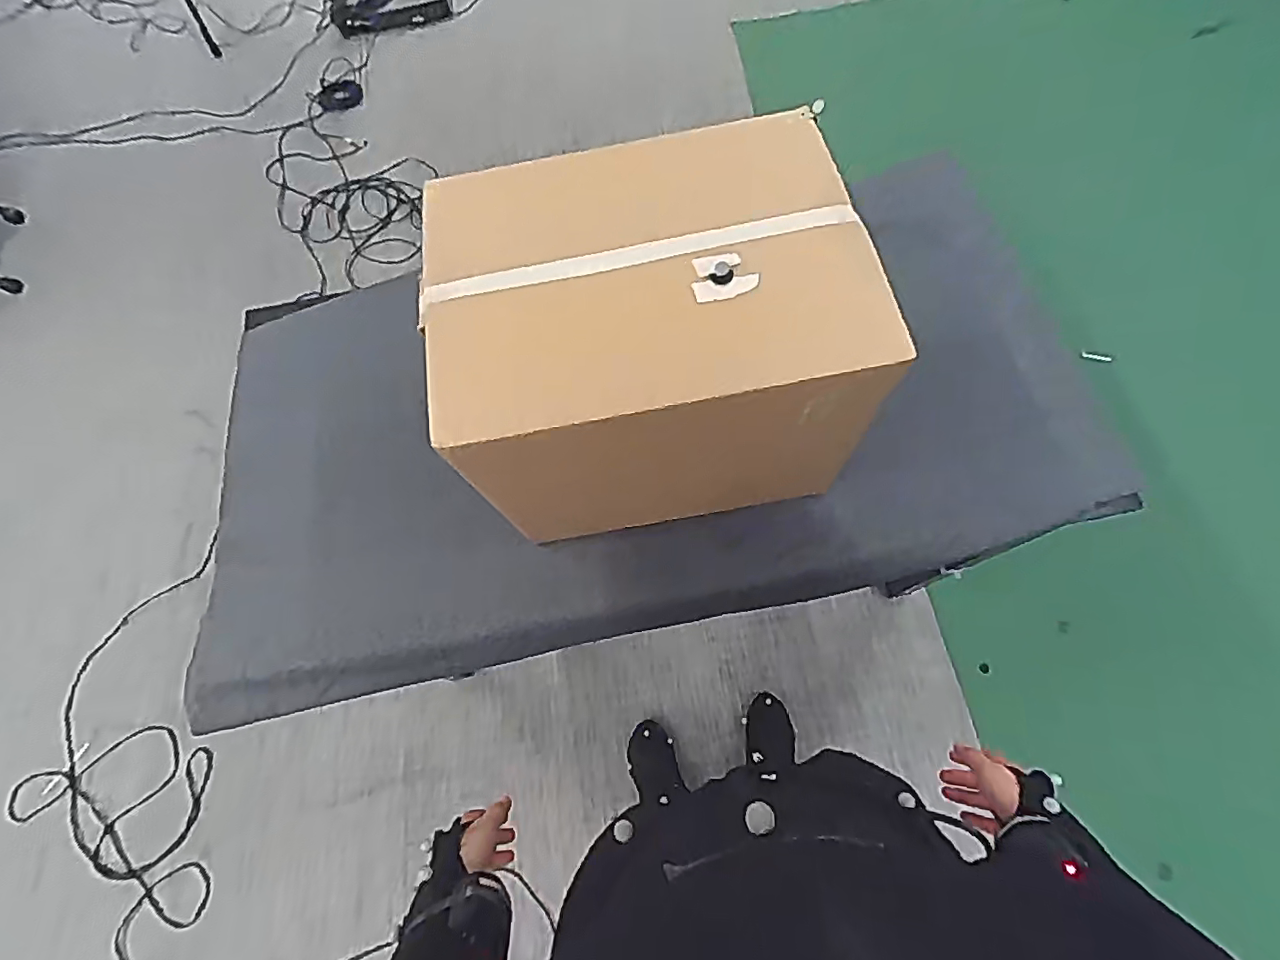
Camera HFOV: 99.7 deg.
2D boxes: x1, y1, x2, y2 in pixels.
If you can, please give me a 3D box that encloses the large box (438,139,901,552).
[{"bbox_3d":[0.015,-0.131,0.654,0.408,0.320,0.320,-11,68,0],"label":"large box"}]
